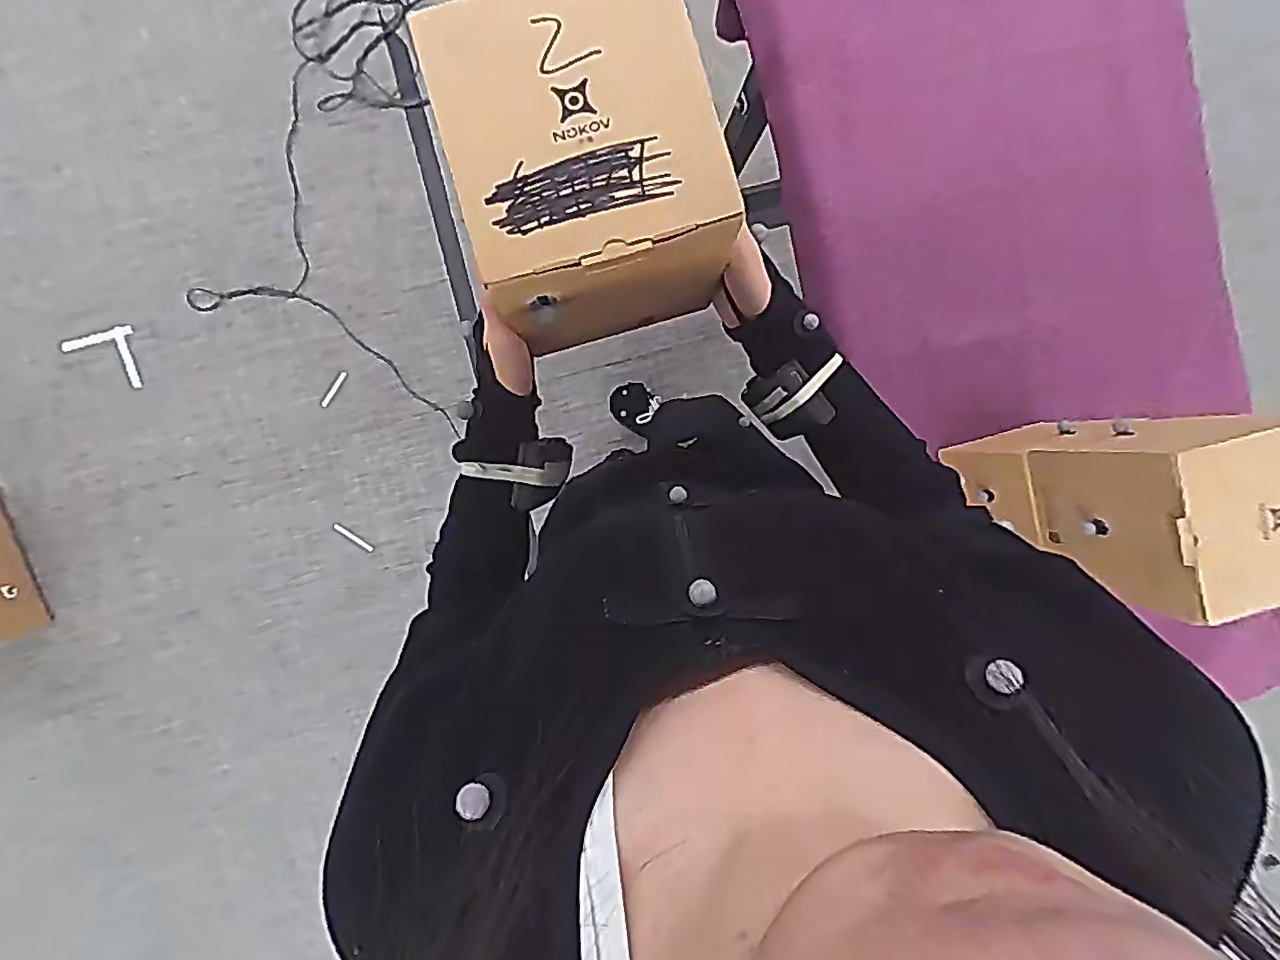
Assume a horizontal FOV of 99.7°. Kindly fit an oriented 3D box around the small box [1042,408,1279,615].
[{"bbox_3d":[0.571,0.024,0.577,0.179,0.176,0.168,-13,95,-4],"label":"small box"}]

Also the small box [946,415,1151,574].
[{"bbox_3d":[0.552,0.014,0.739,0.179,0.176,0.168,-15,95,-5],"label":"small box"}]
